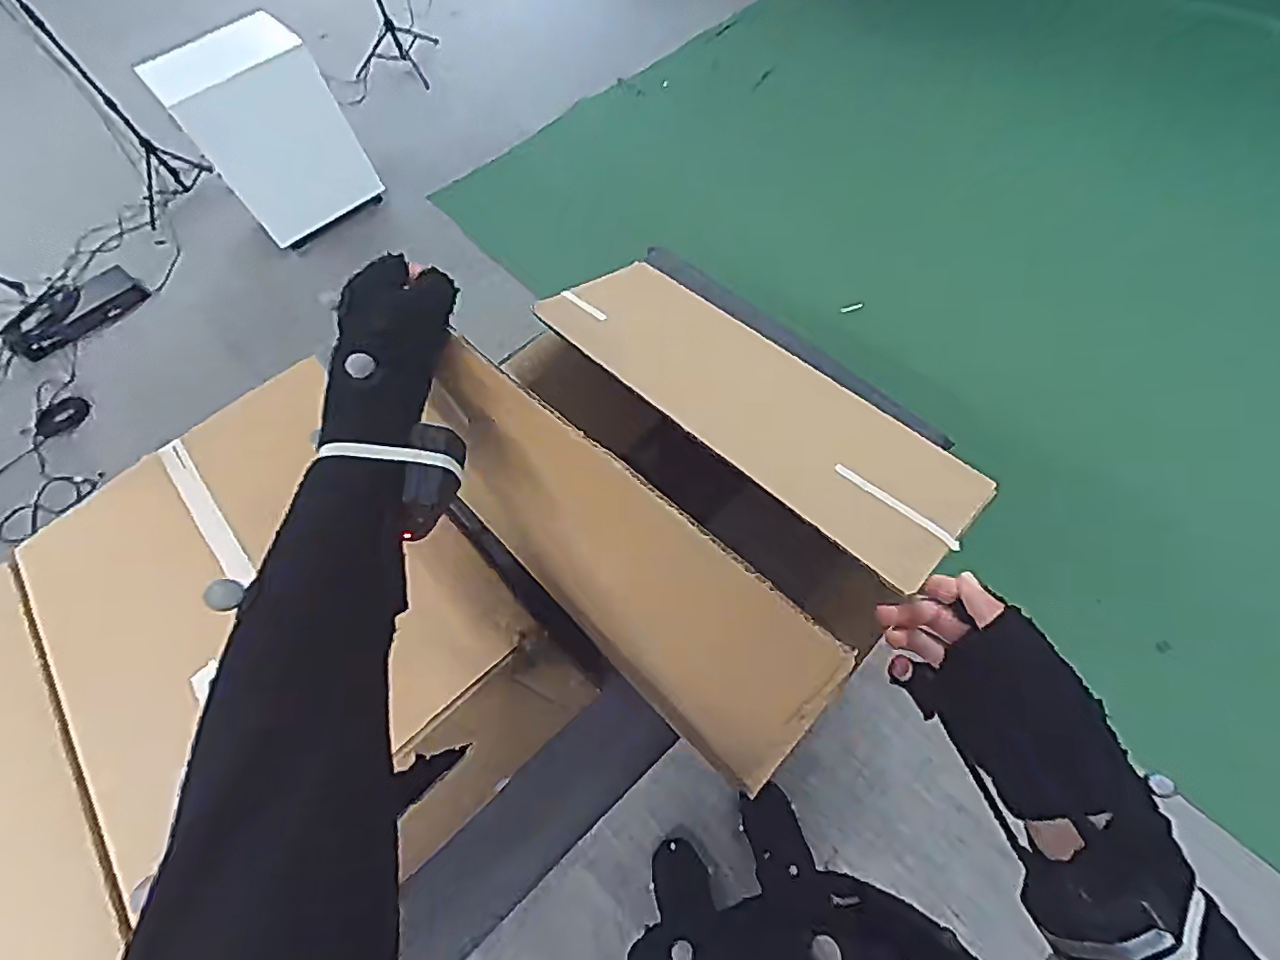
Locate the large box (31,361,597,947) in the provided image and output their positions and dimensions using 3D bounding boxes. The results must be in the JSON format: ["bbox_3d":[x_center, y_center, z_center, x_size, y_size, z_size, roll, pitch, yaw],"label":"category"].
[{"bbox_3d":[-0.305,0.154,0.591,0.320,0.320,0.408,-41,66,-14],"label":"large box"}]
